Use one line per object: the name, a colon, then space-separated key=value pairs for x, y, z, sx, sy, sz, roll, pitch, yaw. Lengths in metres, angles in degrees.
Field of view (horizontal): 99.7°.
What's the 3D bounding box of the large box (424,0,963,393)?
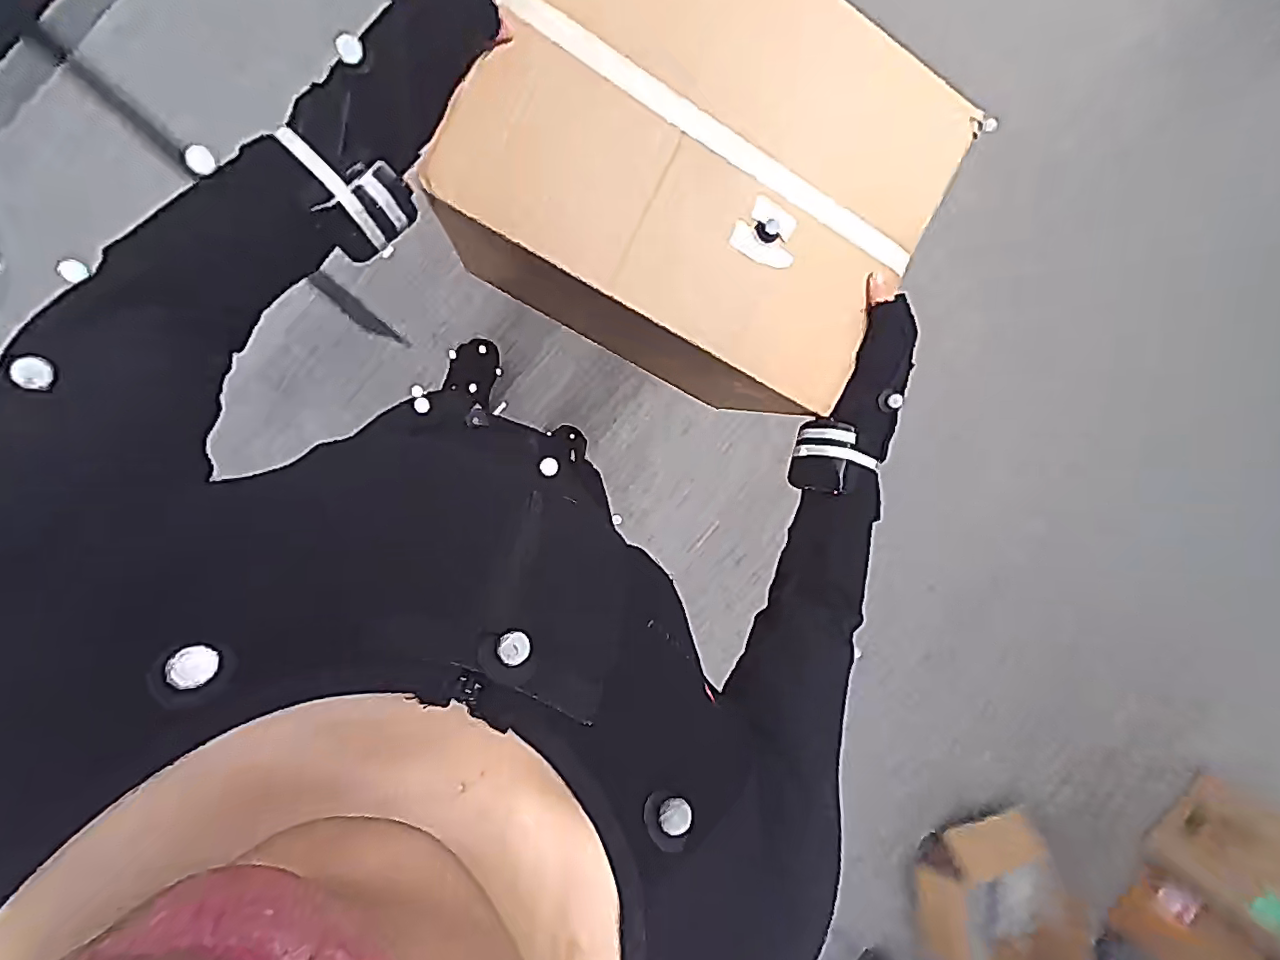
large box: x=0.034 y=-0.320 z=0.606 sx=0.408 sy=0.320 sz=0.320 roll=25 pitch=94 yaw=-15
